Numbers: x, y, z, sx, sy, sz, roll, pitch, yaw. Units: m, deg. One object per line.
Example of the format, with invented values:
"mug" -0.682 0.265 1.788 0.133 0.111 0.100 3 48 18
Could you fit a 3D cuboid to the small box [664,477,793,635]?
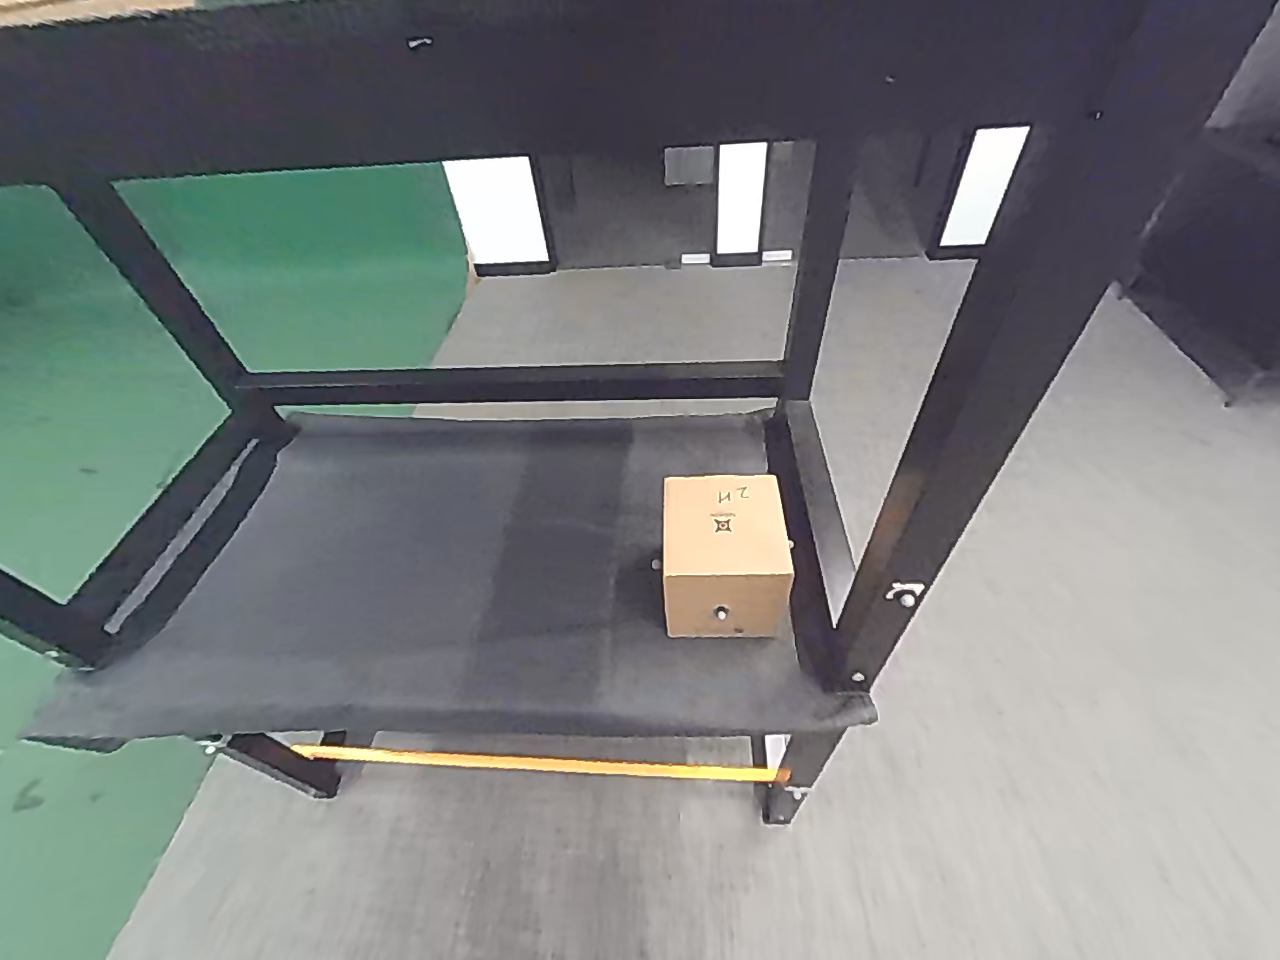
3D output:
"small box" 0.123 0.116 0.799 0.168 0.176 0.179 -1 47 4
